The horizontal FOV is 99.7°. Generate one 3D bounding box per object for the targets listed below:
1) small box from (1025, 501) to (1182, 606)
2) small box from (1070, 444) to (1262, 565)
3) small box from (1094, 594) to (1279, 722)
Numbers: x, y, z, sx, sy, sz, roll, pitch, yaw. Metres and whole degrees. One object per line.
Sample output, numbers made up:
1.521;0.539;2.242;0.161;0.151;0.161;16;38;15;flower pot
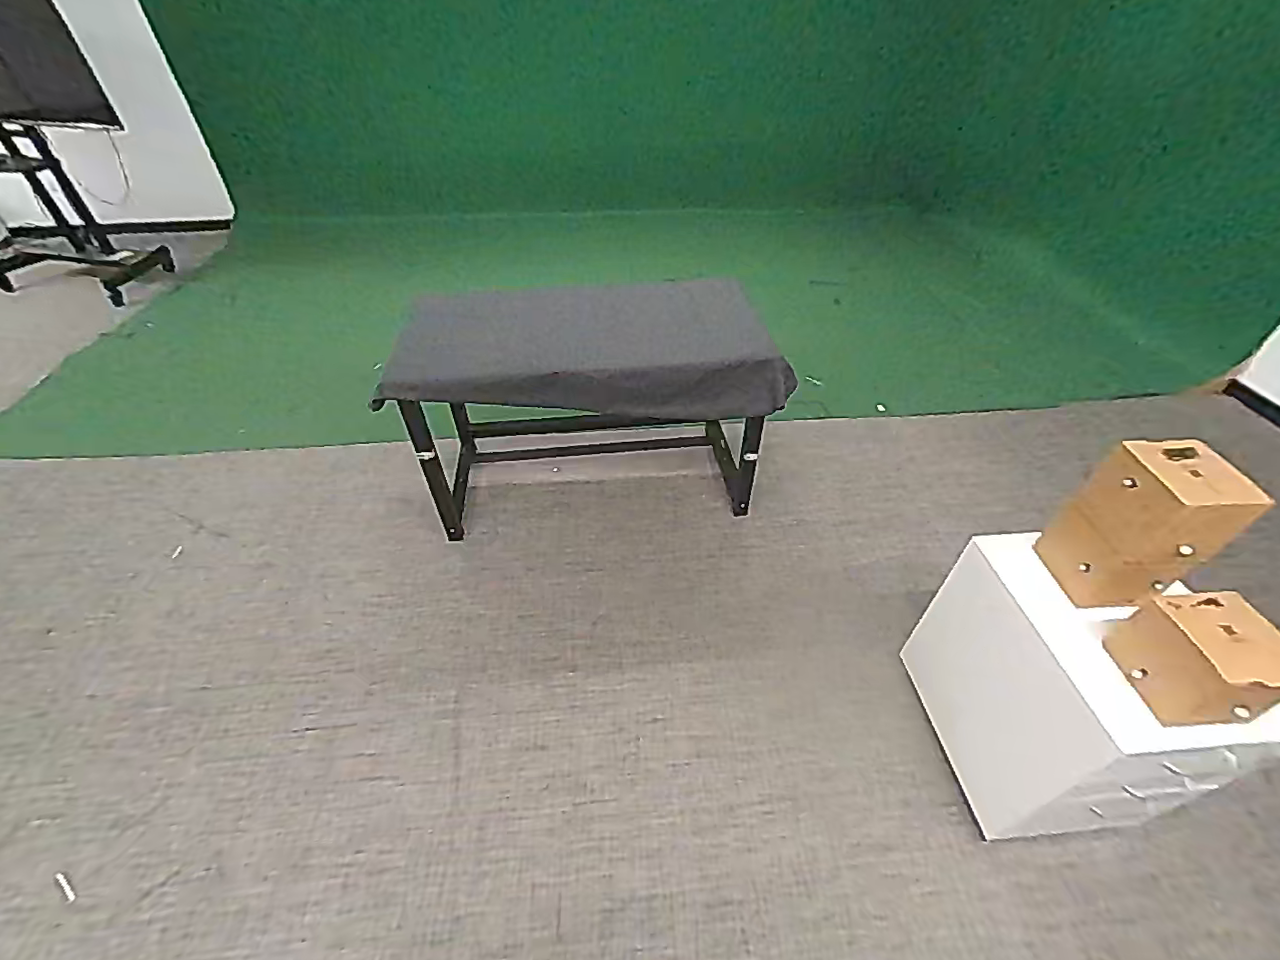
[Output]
1.006;0.164;1.185;0.168;0.176;0.179;-1;43;-5;small box
1.016;0.048;1.069;0.168;0.176;0.179;-1;45;-4;small box
1.016;0.334;1.003;0.168;0.176;0.179;-2;44;-3;small box
